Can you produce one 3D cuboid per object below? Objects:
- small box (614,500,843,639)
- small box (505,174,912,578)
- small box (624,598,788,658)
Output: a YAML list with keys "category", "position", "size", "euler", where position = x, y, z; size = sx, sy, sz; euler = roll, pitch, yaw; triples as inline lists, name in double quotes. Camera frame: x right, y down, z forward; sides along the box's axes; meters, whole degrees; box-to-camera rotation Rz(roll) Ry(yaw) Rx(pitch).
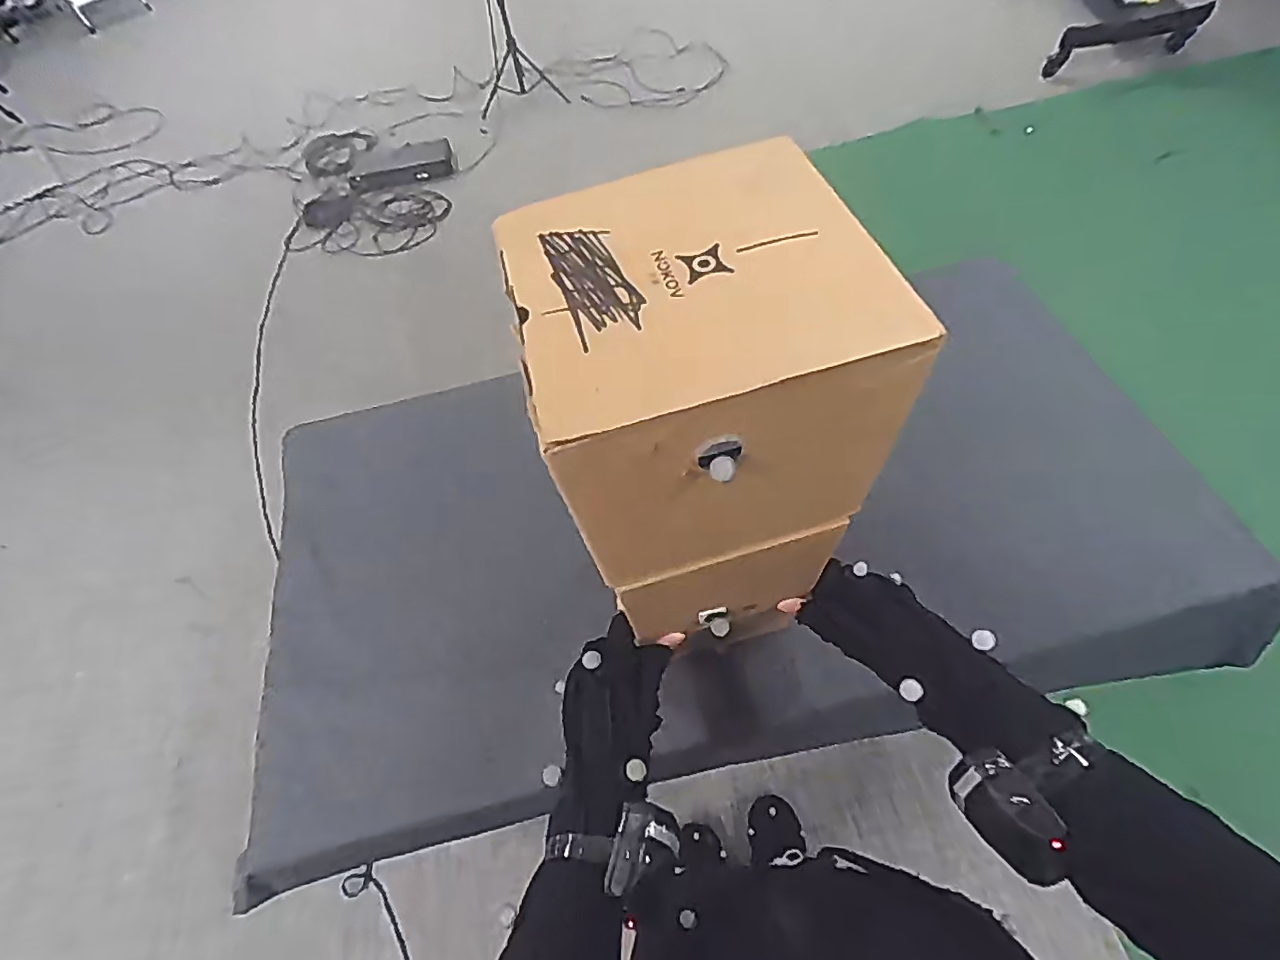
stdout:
- category: "small box"
  position: [0.048, 0.019, 0.477]
  size: [0.168, 0.176, 0.179]
  euler: [-17, 61, -2]
- category: "small box"
  position: [0.032, -0.053, 0.350]
  size: [0.179, 0.176, 0.168]
  euler: [-16, 60, -2]
- category: "small box"
  position: [0.062, 0.090, 0.623]
  size: [0.179, 0.176, 0.168]
  euler: [-14, 59, -3]
